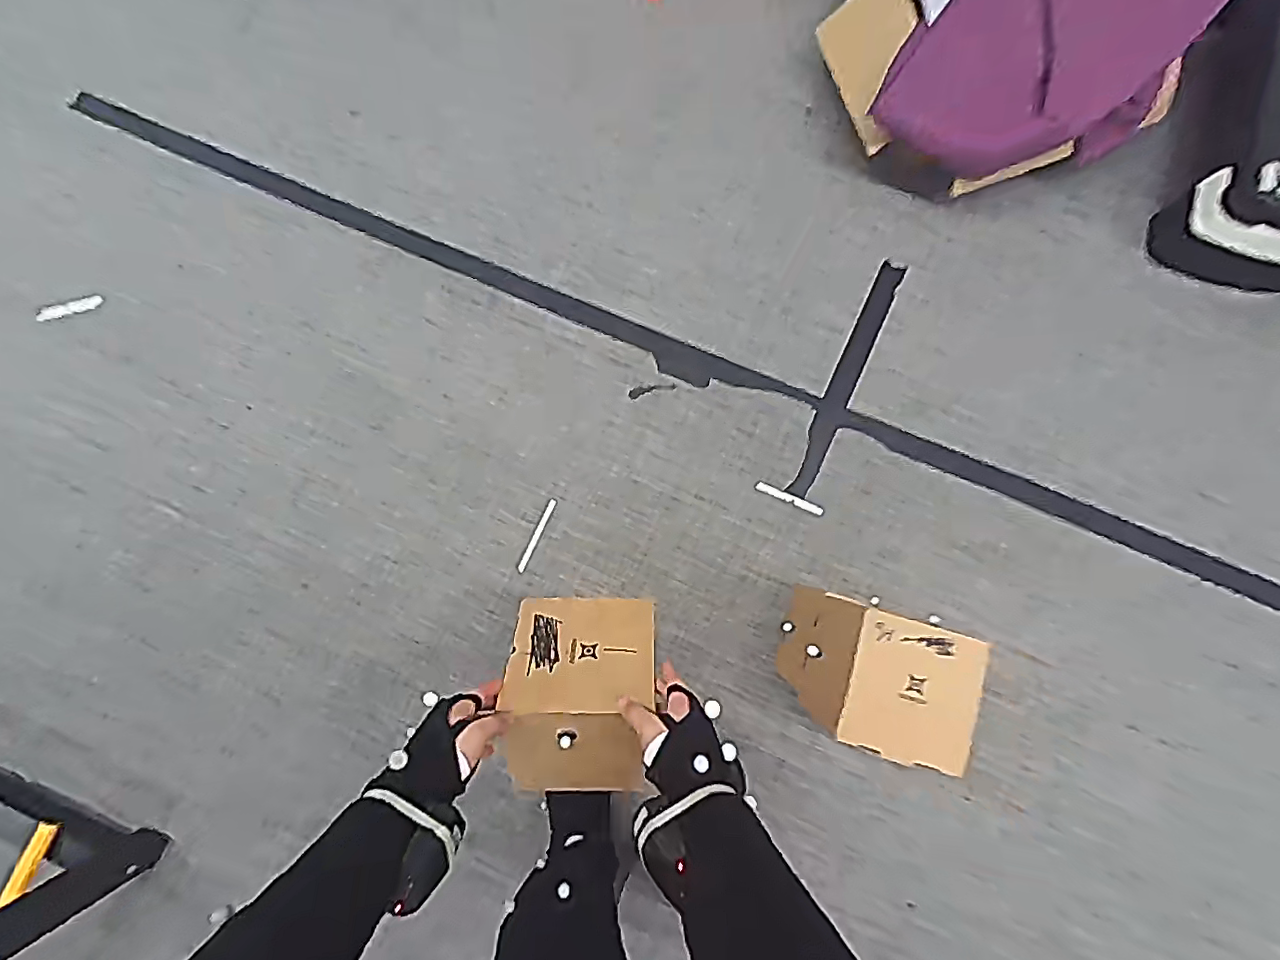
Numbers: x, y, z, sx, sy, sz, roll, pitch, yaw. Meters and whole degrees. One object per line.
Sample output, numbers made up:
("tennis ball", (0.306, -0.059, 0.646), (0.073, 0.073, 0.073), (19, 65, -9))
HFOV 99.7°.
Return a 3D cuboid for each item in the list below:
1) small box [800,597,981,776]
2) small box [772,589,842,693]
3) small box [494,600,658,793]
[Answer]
("small box", (0.344, 0.281, 0.778), (0.168, 0.176, 0.179), (17, 84, 3))
("small box", (0.351, 0.294, 0.941), (0.179, 0.176, 0.168), (18, 83, 3))
("small box", (-0.067, 0.270, 0.679), (0.179, 0.168, 0.176), (0, 125, 0))
